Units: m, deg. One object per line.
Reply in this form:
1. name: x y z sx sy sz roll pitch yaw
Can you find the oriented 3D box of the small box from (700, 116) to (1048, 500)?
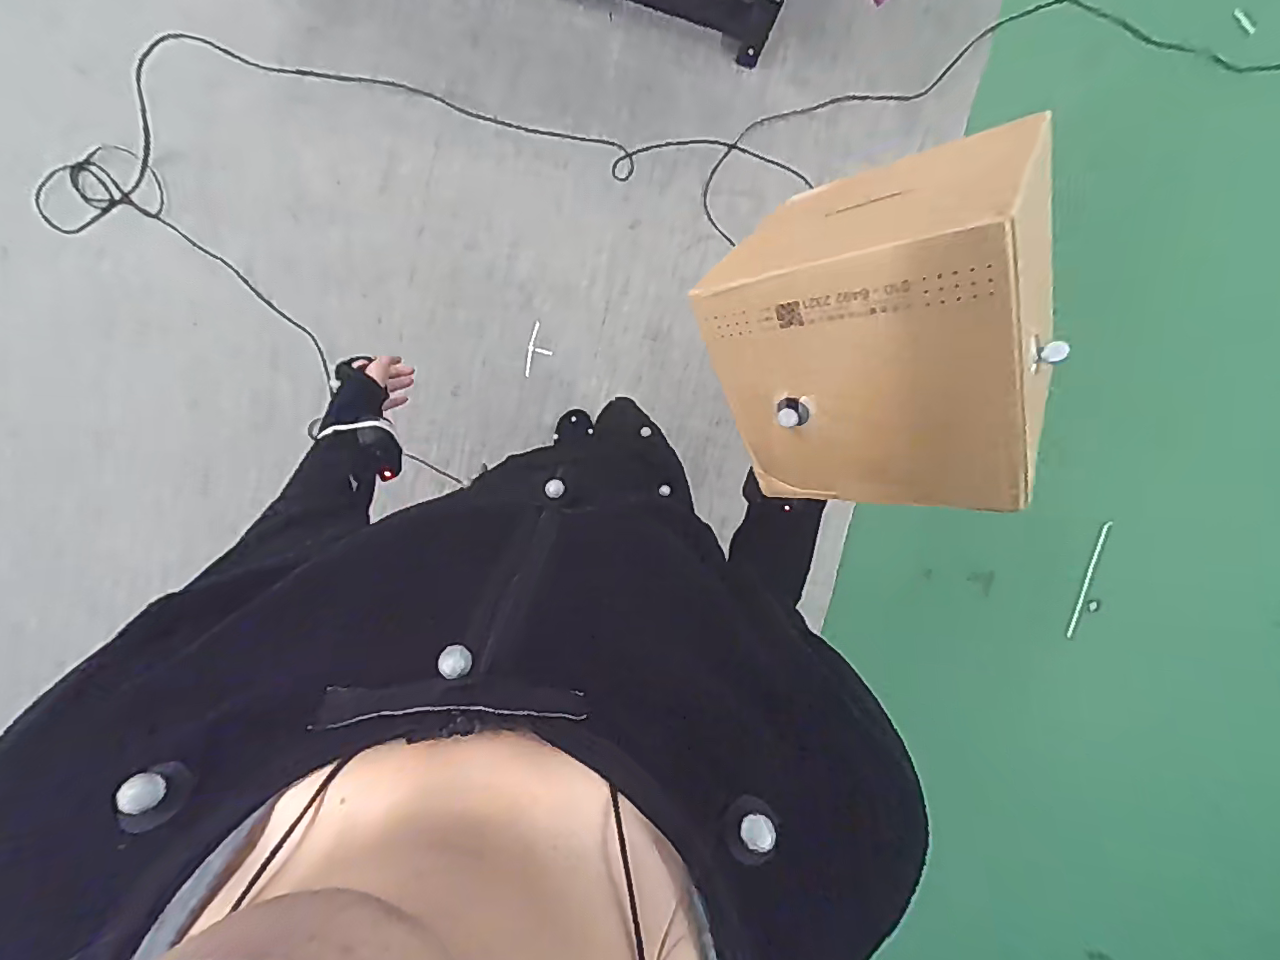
1. small box: 0.165 -0.107 0.366 0.179 0.168 0.176 -51 128 -35
